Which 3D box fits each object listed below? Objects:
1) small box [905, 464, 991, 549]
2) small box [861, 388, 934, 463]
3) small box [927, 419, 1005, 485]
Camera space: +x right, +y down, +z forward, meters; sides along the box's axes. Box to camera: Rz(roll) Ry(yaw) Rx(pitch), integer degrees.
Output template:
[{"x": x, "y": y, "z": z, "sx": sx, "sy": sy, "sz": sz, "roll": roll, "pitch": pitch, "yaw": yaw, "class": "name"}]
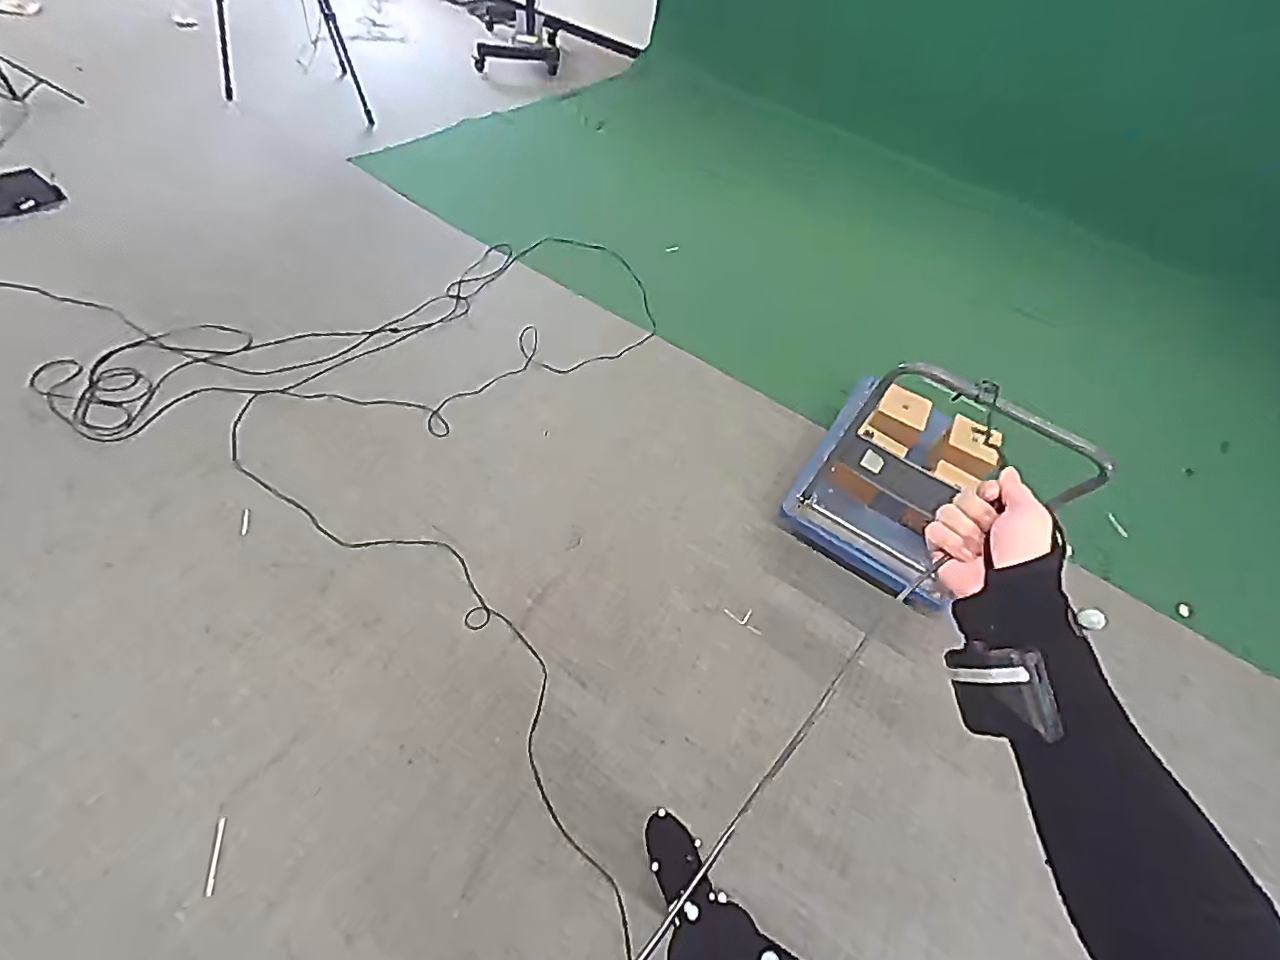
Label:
[{"x": 0.994, "y": 0.089, "z": 1.757, "sx": 0.168, "sy": 0.176, "sz": 0.179, "roll": 33, "pitch": 56, "yaw": 15, "class": "small box"}, {"x": 0.929, "y": -0.195, "z": 1.961, "sx": 0.168, "sy": 0.176, "sz": 0.179, "roll": 29, "pitch": 54, "yaw": 12, "class": "small box"}, {"x": 1.145, "y": -0.078, "z": 1.907, "sx": 0.168, "sy": 0.176, "sz": 0.179, "roll": 29, "pitch": 55, "yaw": 13, "class": "small box"}]
